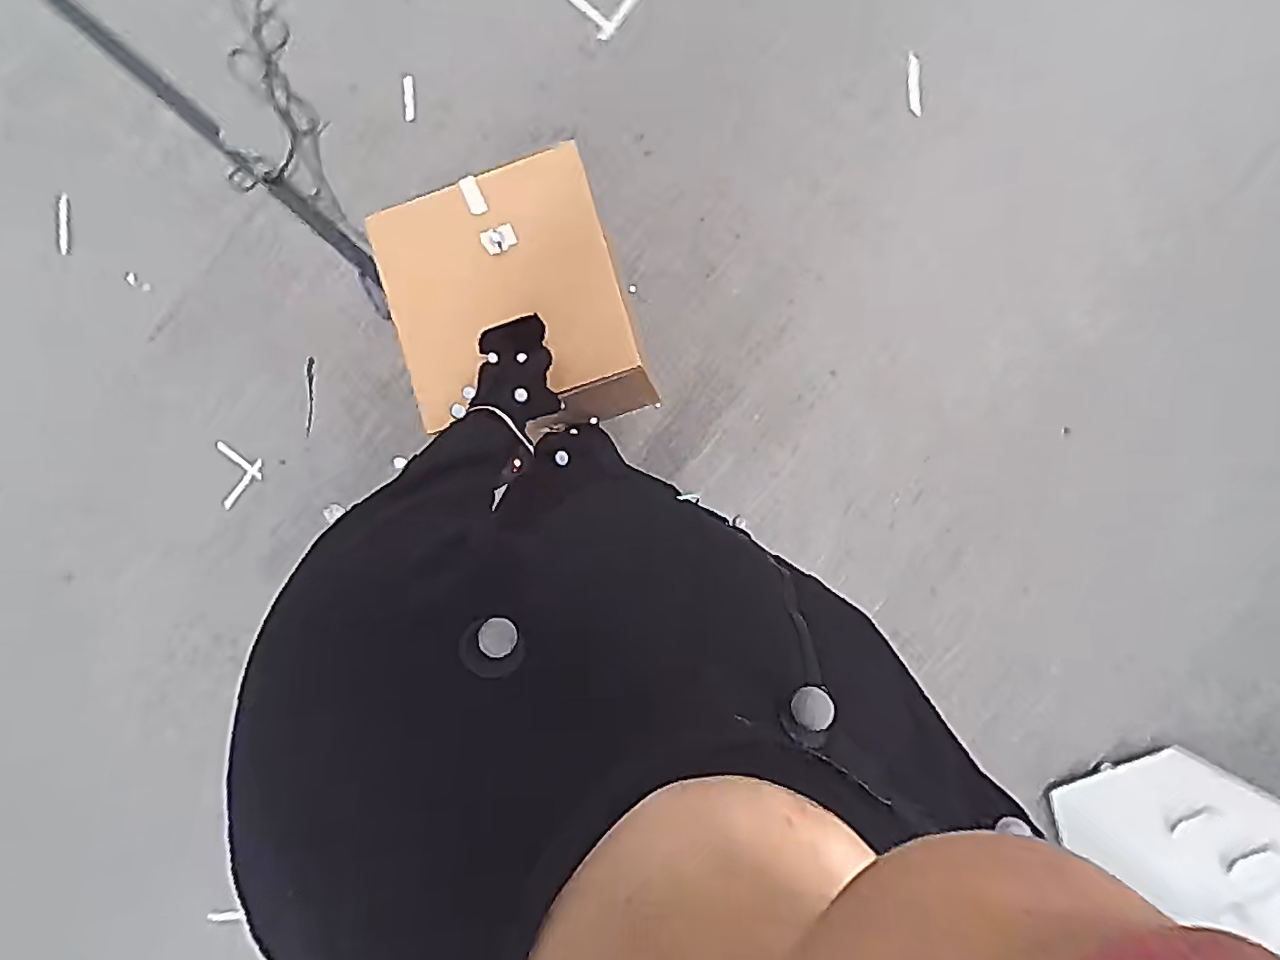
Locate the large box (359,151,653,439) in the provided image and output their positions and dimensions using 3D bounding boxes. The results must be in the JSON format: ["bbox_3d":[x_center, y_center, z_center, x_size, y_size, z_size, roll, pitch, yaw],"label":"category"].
[{"bbox_3d":[-0.187,-0.267,0.929,0.320,0.408,0.320,-17,91,7],"label":"large box"}]
